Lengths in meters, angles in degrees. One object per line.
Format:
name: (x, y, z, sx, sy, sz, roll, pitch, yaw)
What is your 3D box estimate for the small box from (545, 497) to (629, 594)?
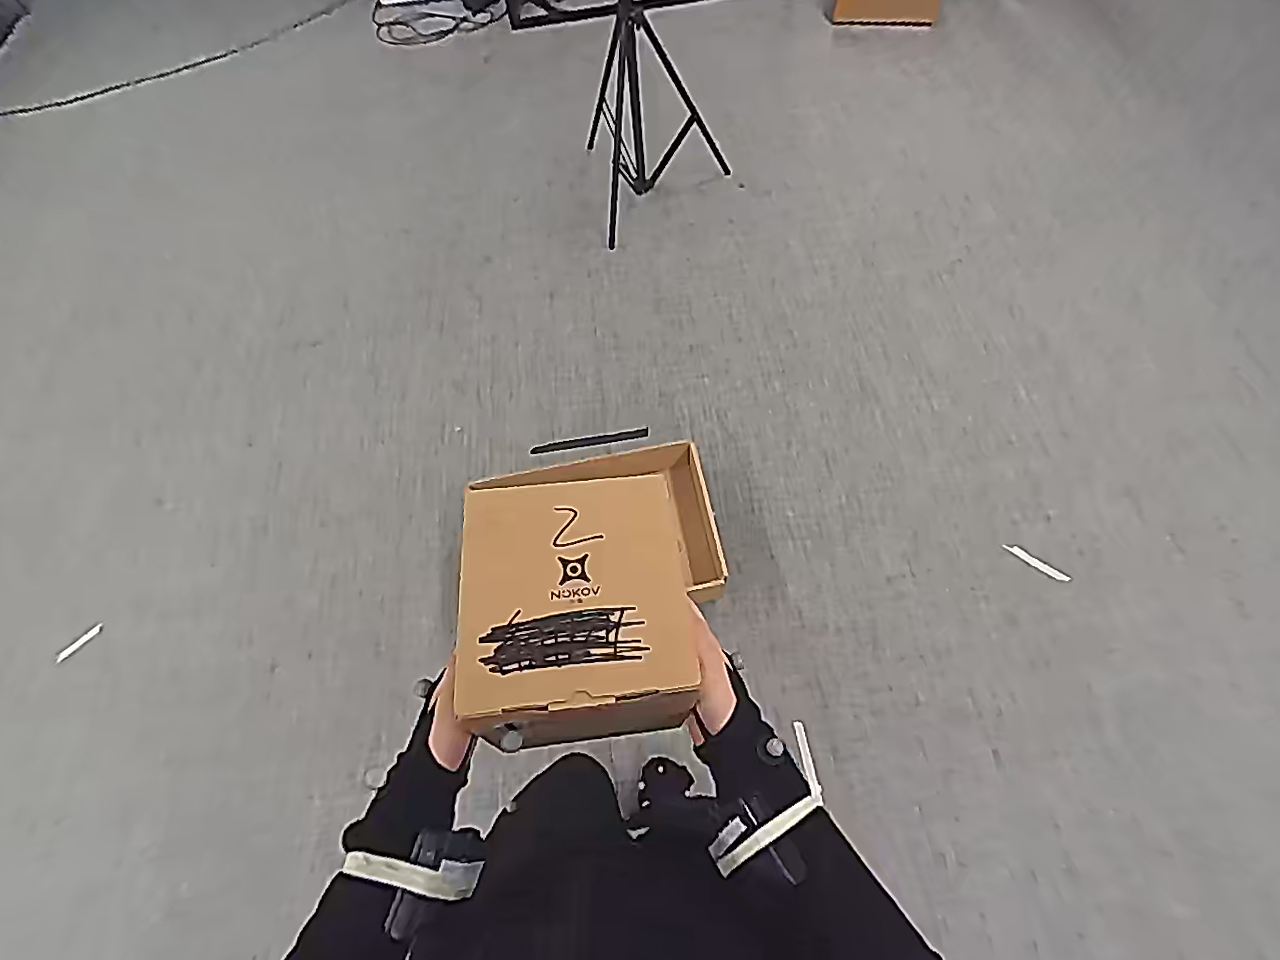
small box: (-0.133, 0.172, 1.387, 0.168, 0.176, 0.179, -16, 65, -2)
